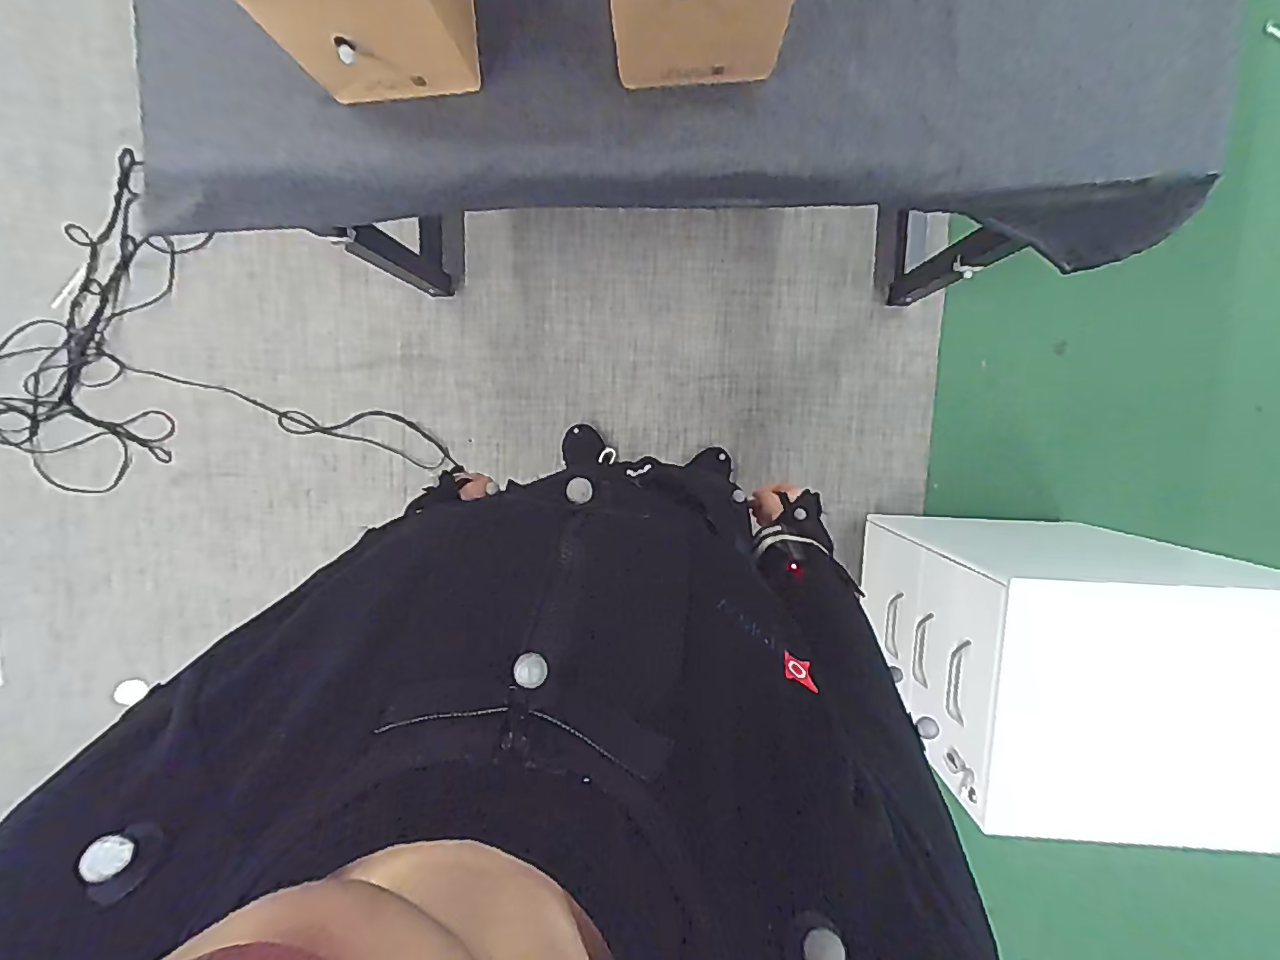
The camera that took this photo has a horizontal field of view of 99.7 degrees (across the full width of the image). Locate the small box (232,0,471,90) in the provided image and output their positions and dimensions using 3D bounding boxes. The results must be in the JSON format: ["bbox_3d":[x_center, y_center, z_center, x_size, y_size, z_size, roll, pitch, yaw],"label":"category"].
[{"bbox_3d":[-0.273,-0.509,0.517,0.168,0.176,0.179,-3,95,2],"label":"small box"}]

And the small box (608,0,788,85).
[{"bbox_3d":[0.051,-0.516,0.506,0.168,0.176,0.179,-2,95,2],"label":"small box"}]
